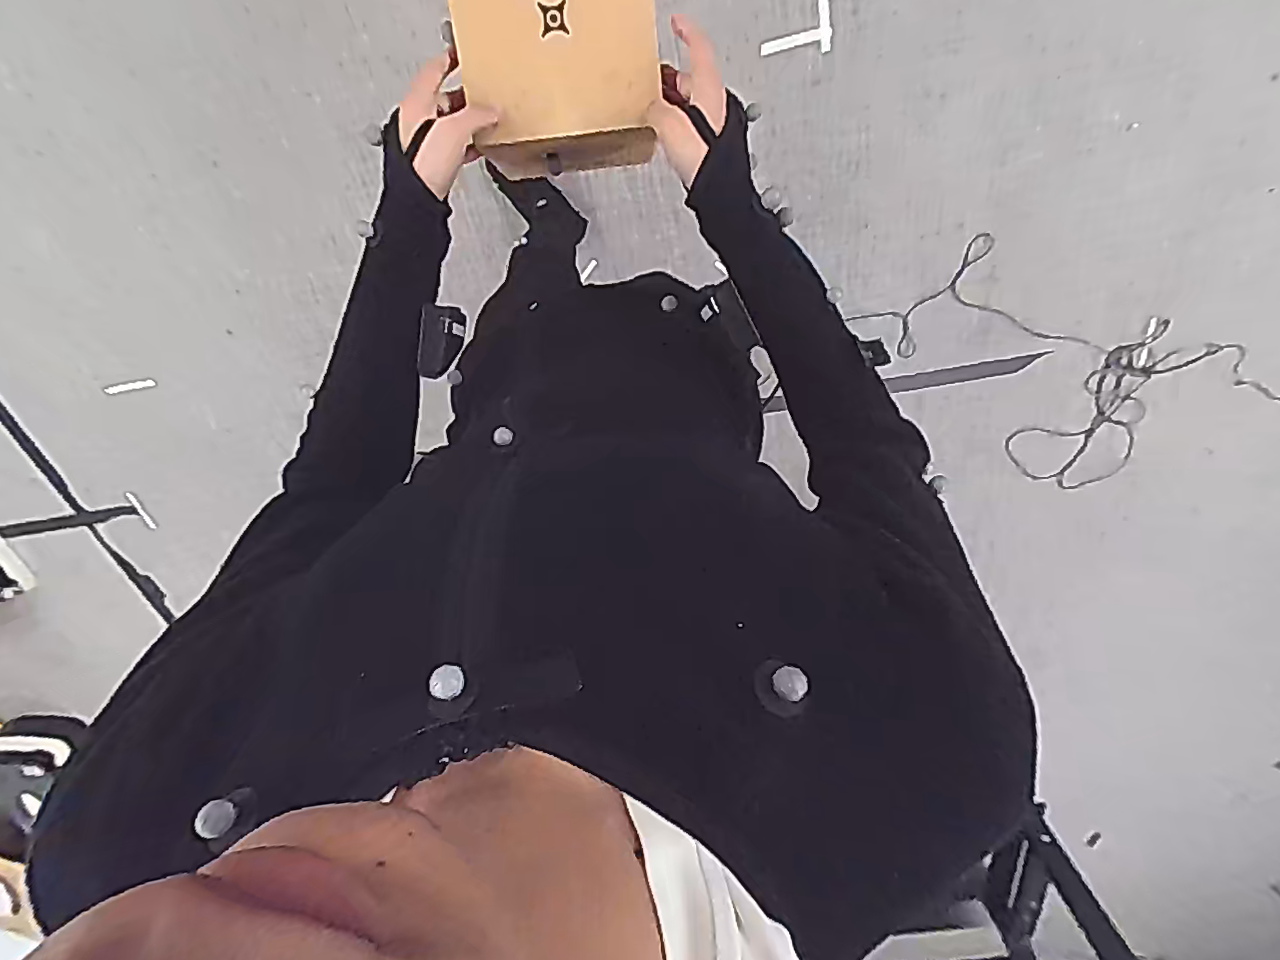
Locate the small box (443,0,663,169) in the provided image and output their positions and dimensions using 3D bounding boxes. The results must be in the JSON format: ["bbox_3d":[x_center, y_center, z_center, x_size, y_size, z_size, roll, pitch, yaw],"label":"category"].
[{"bbox_3d":[-0.071,-0.396,0.490,0.168,0.176,0.179,-7,110,0],"label":"small box"}]
